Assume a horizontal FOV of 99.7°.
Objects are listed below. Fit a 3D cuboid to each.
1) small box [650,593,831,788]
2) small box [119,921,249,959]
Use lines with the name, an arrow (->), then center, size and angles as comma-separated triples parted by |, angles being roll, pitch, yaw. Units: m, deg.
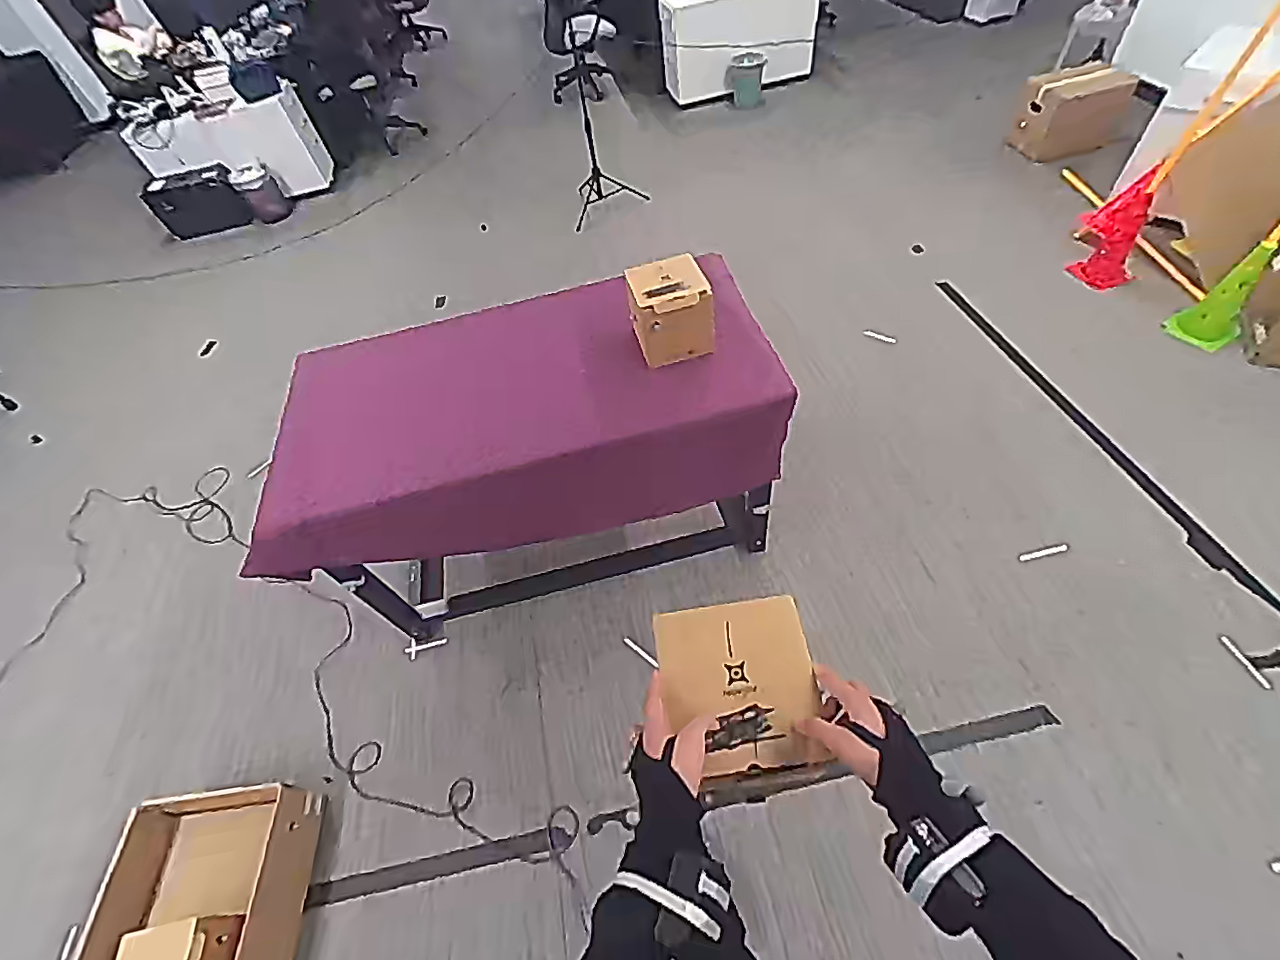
small box -> 0.112, 0.256, 0.641 | 0.168, 0.176, 0.179 | -10, 55, 3
small box -> -1.023, 1.103, 1.203 | 0.179, 0.176, 0.168 | -14, 51, -1
